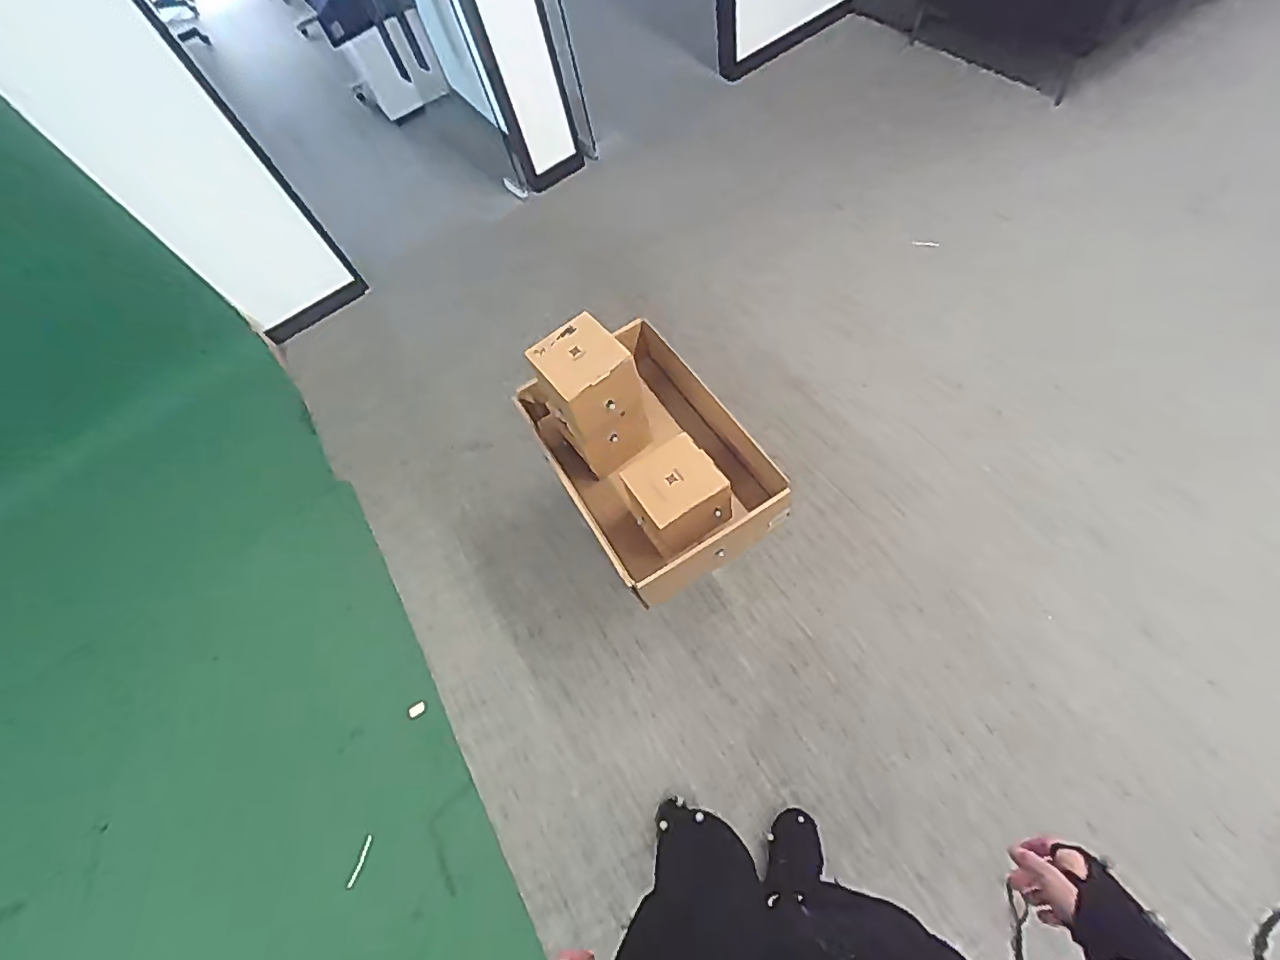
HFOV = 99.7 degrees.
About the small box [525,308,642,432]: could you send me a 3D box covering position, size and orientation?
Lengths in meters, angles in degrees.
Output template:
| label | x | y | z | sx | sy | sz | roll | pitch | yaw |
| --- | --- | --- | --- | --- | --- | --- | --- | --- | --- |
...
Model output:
| label | x | y | z | sx | sy | sz | roll | pitch | yaw |
| --- | --- | --- | --- | --- | --- | --- | --- | --- | --- |
| small box | -0.114 | -0.227 | 1.169 | 0.168 | 0.176 | 0.179 | -37 | 63 | -9 |
